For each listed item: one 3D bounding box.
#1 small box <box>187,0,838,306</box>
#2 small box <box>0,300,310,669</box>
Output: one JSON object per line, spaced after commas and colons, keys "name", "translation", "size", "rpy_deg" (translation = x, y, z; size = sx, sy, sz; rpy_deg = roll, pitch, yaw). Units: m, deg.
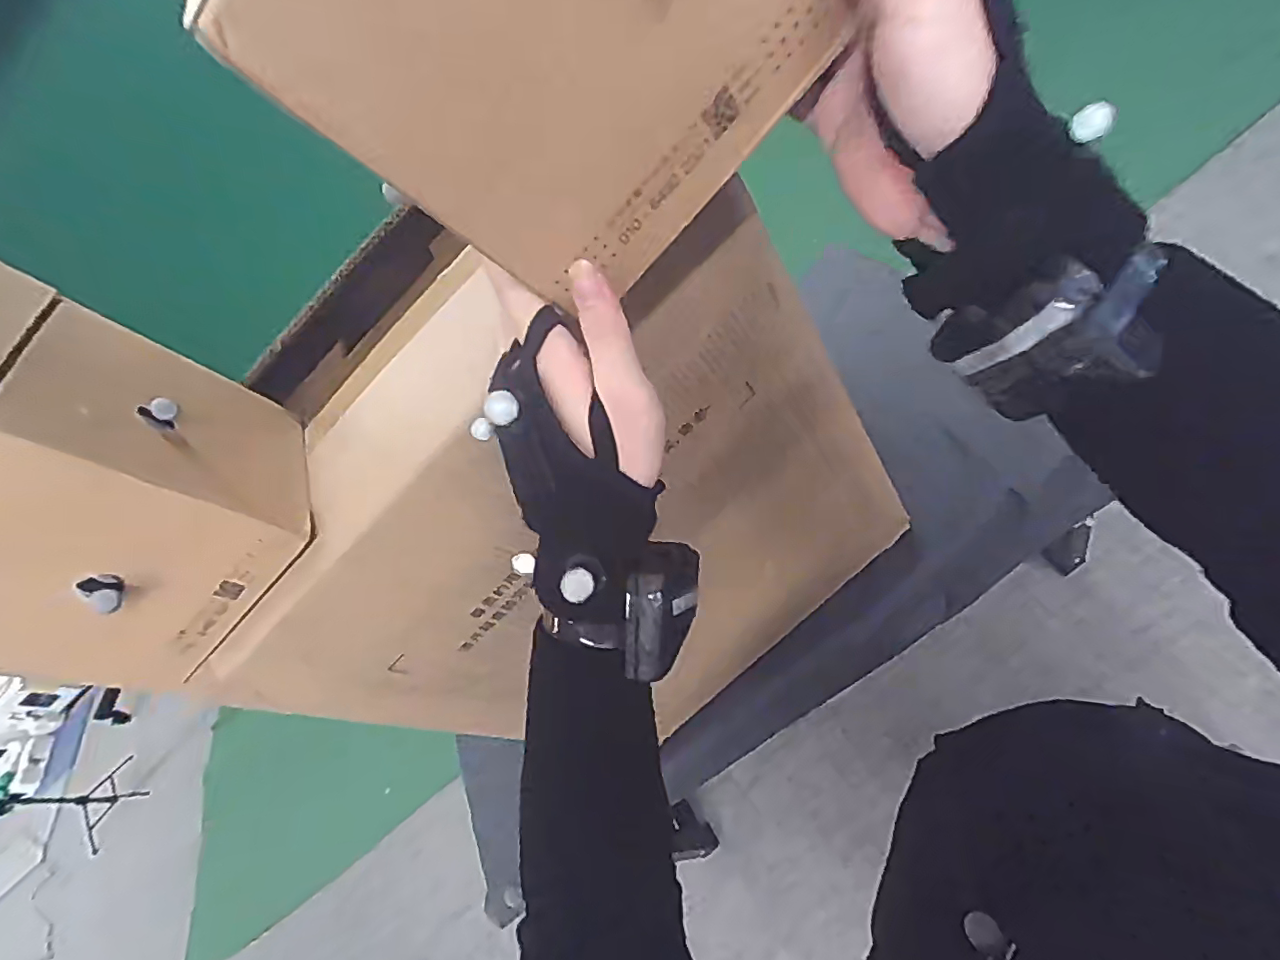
{"name": "small box", "translation": [-0.049, -0.203, 0.226], "size": [0.168, 0.176, 0.179], "rpy_deg": [-42, 54, 17]}
{"name": "small box", "translation": [-0.364, 0.013, 0.384], "size": [0.168, 0.176, 0.179], "rpy_deg": [-46, 48, 7]}
